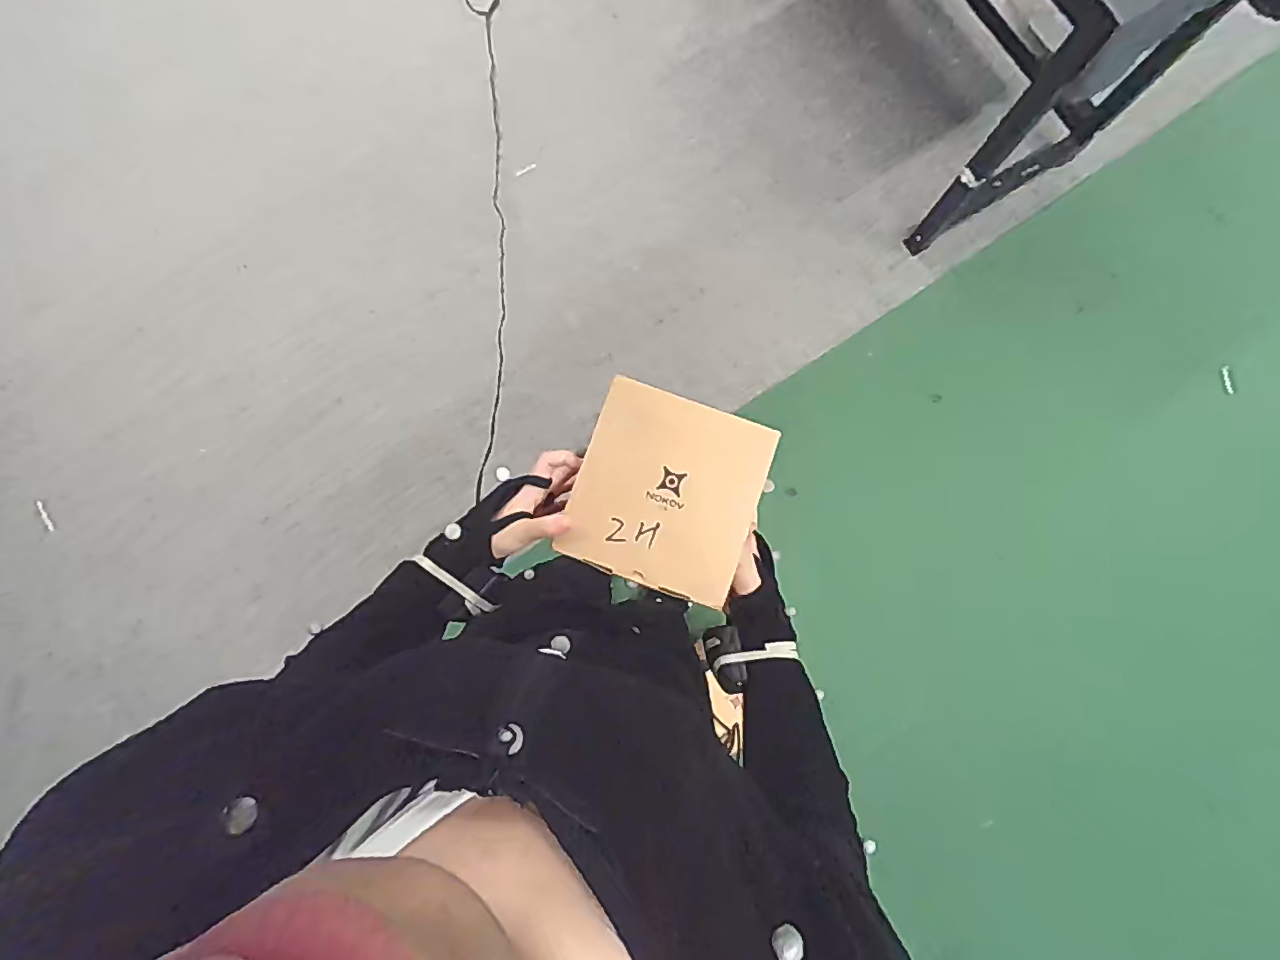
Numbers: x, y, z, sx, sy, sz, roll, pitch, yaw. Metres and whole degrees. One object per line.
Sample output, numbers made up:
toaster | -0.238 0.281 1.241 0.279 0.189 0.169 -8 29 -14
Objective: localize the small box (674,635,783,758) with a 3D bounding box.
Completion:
small box | 0.192 0.476 1.219 0.168 0.176 0.179 -34 84 -3
